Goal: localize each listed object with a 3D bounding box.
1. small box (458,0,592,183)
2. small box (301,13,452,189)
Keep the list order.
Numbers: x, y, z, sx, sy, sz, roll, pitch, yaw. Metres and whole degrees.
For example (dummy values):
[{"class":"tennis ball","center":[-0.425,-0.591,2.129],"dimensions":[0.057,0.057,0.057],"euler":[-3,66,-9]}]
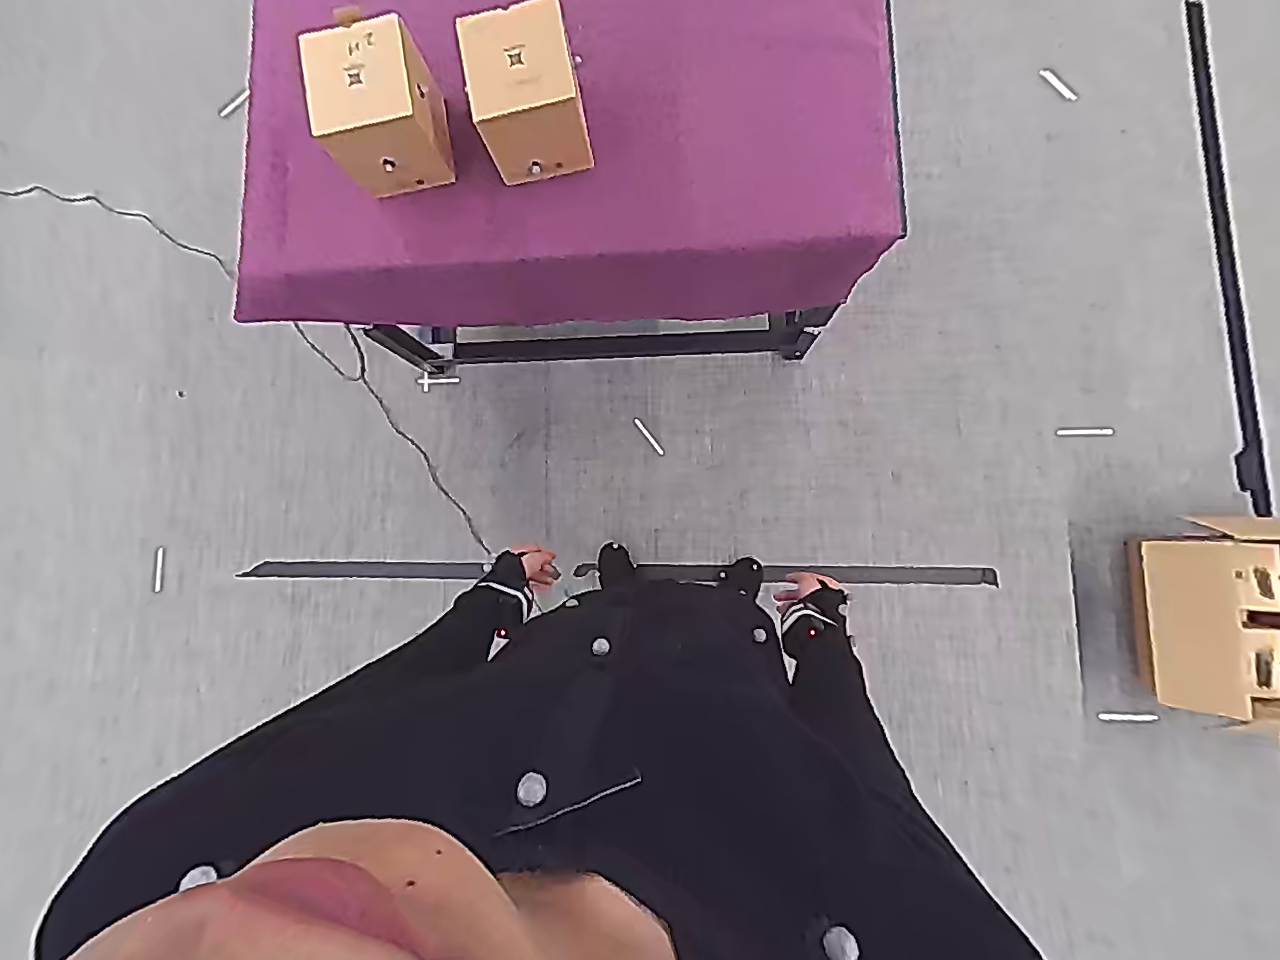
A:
[{"class":"small box","center":[-0.184,-0.642,0.907],"dimensions":[0.168,0.176,0.179],"euler":[-11,84,4]},{"class":"small box","center":[-0.436,-0.626,0.922],"dimensions":[0.168,0.176,0.179],"euler":[-10,84,3]}]
